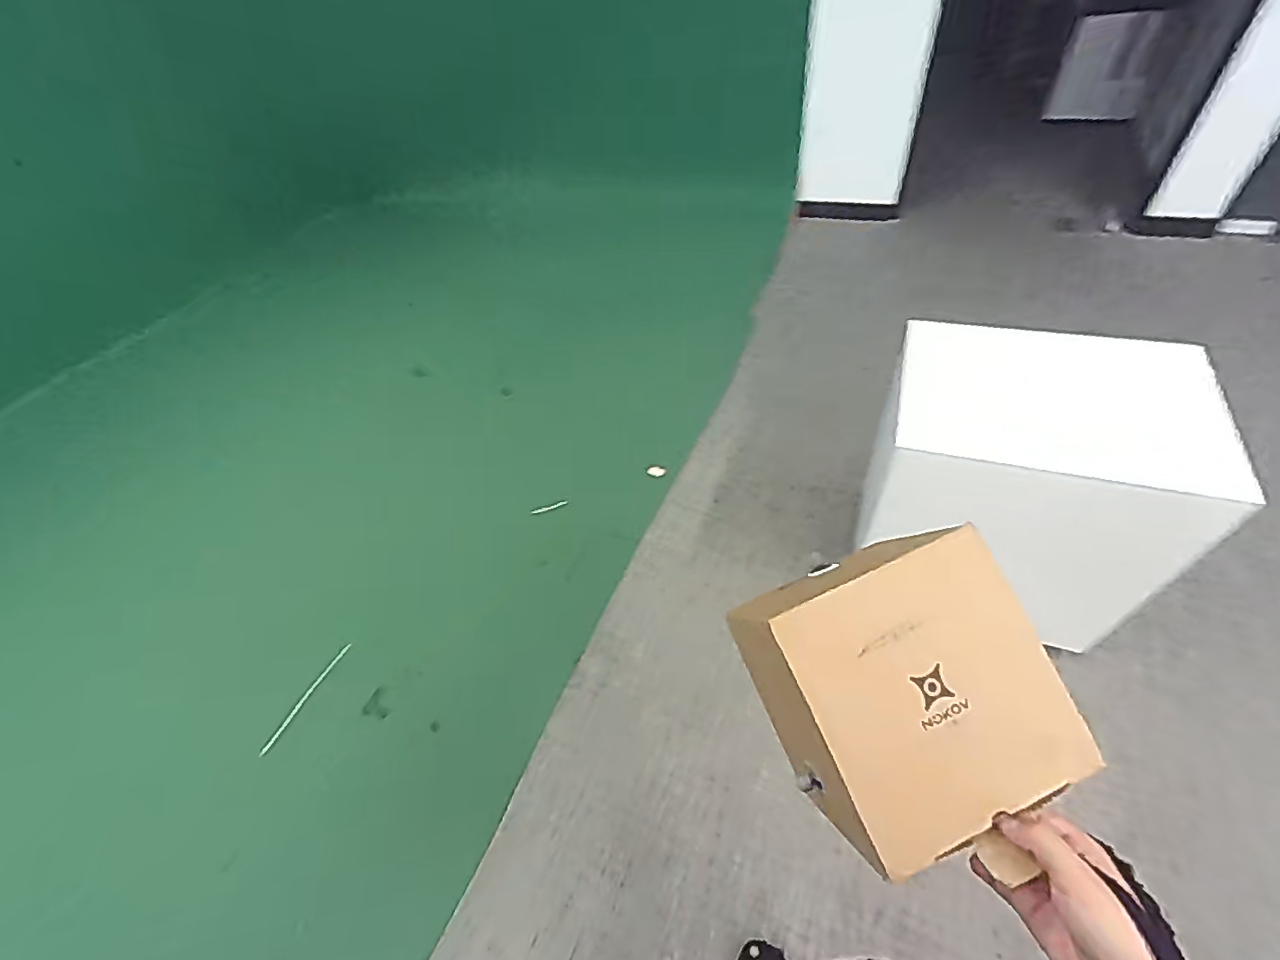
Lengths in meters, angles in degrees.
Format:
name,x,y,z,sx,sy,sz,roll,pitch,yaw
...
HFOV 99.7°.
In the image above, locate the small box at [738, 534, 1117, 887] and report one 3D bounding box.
name,x,y,z,sx,sy,sz,roll,pitch,yaw
small box,0.198,0.160,0.432,0.168,0.176,0.179,-23,78,-7
